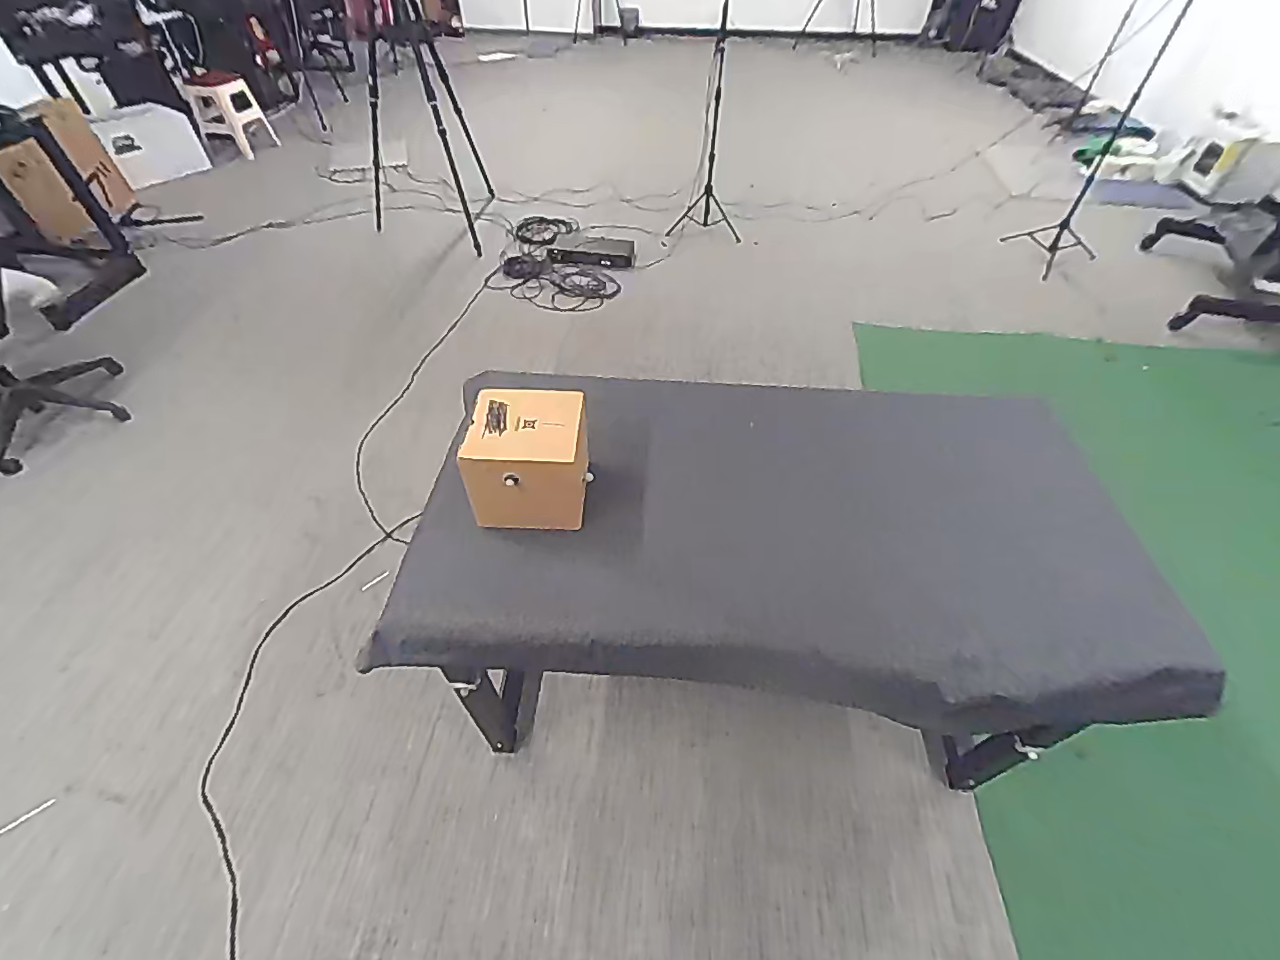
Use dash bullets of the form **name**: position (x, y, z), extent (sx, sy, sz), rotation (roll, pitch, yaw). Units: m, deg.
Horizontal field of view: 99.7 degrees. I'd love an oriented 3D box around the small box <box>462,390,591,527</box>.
- **small box**: position (-0.179, -0.034, 0.915), extent (0.179, 0.176, 0.168), rotation (2, 48, 0)
